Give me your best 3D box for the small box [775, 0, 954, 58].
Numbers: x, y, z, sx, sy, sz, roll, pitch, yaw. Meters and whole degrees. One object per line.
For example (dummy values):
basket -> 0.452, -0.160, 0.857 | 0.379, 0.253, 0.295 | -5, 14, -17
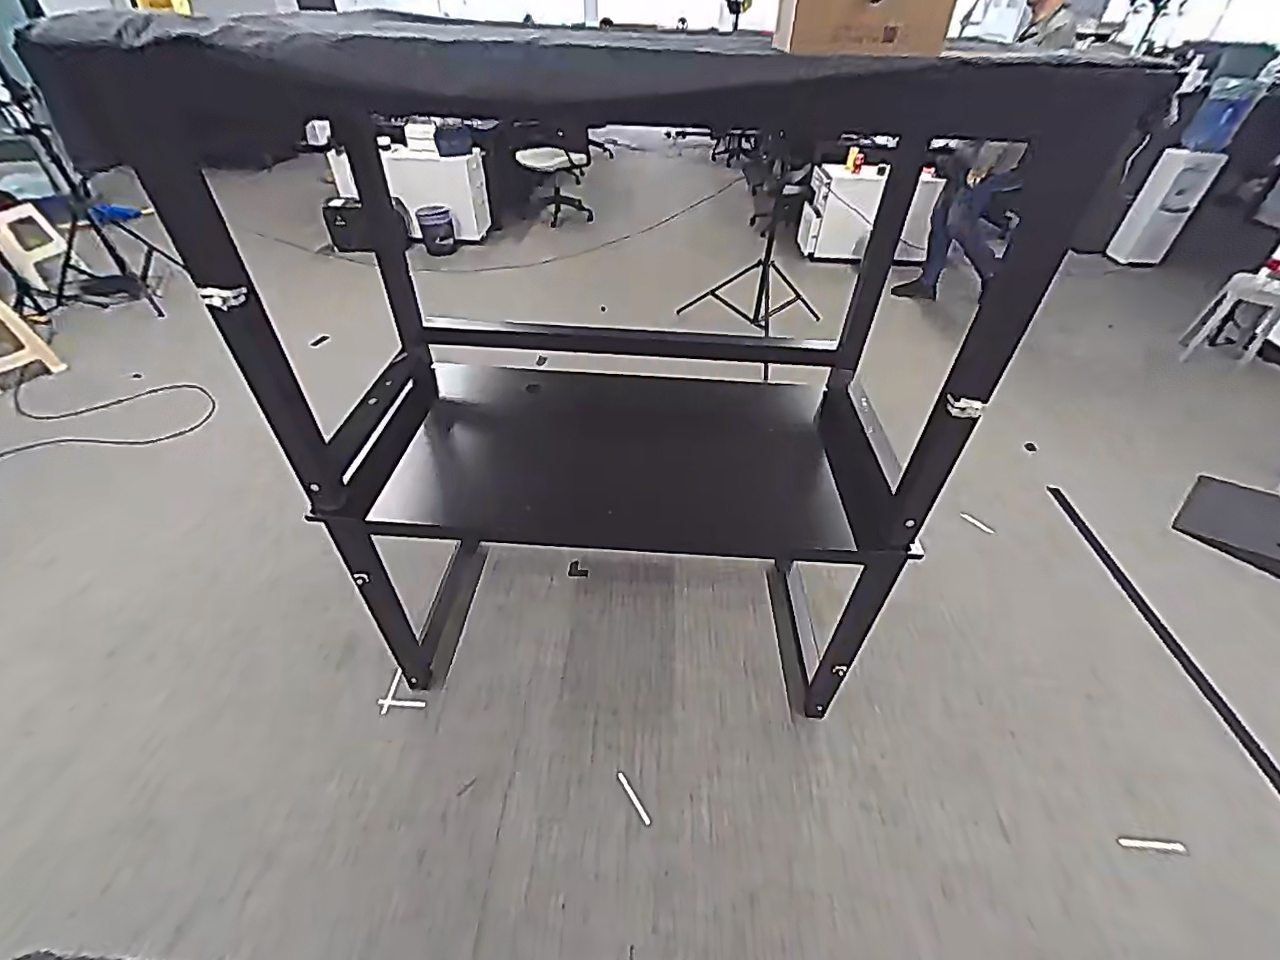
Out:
small box -> 0.252, -0.584, 0.601 | 0.168, 0.176, 0.179 | 3, 41, 3
